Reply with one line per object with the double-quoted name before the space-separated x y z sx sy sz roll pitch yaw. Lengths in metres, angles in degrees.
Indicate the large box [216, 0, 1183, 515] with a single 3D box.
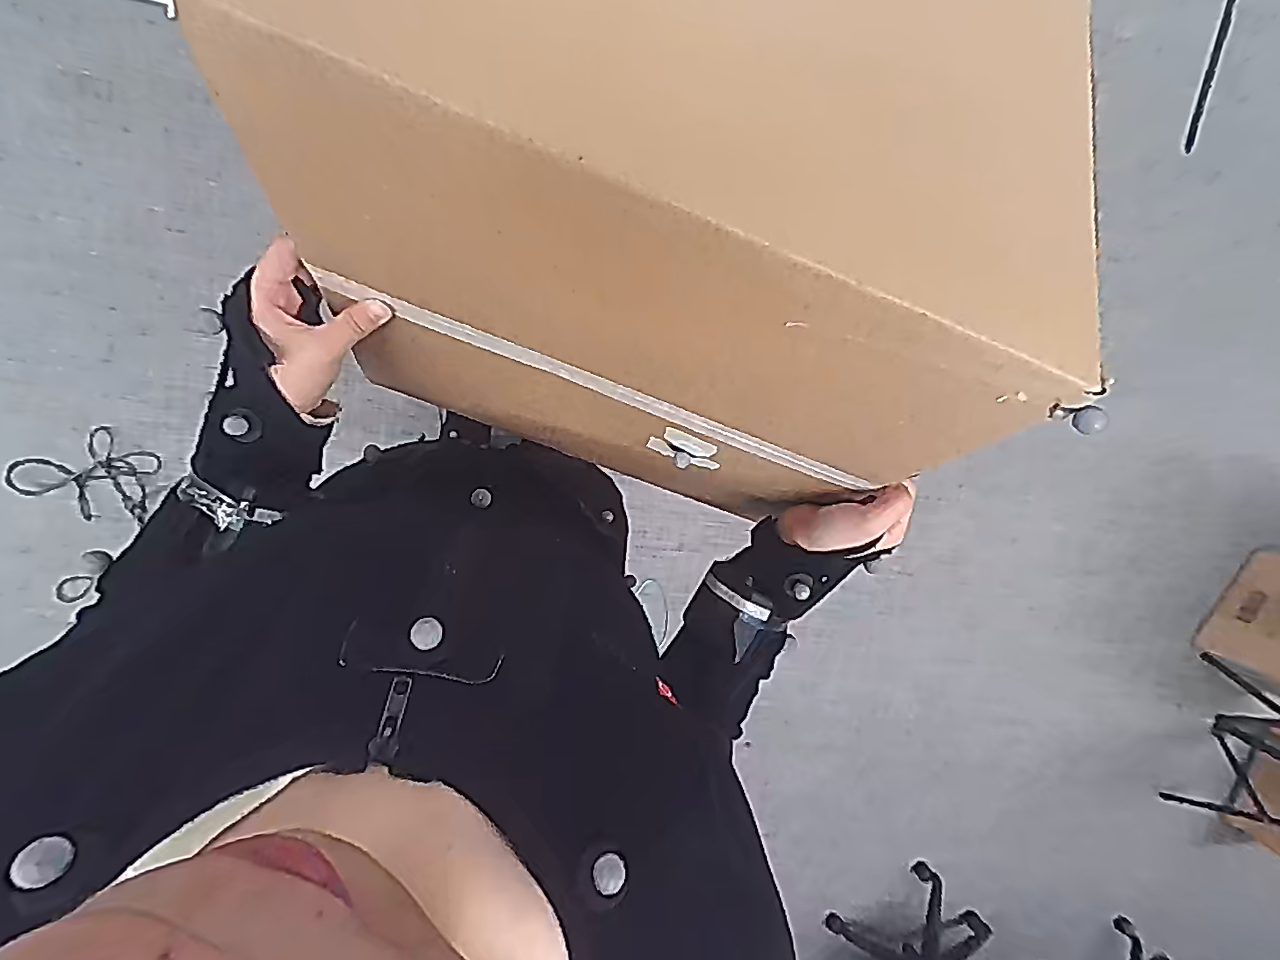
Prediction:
"large box" 0.041 -0.210 0.387 0.408 0.320 0.320 19 71 -8
